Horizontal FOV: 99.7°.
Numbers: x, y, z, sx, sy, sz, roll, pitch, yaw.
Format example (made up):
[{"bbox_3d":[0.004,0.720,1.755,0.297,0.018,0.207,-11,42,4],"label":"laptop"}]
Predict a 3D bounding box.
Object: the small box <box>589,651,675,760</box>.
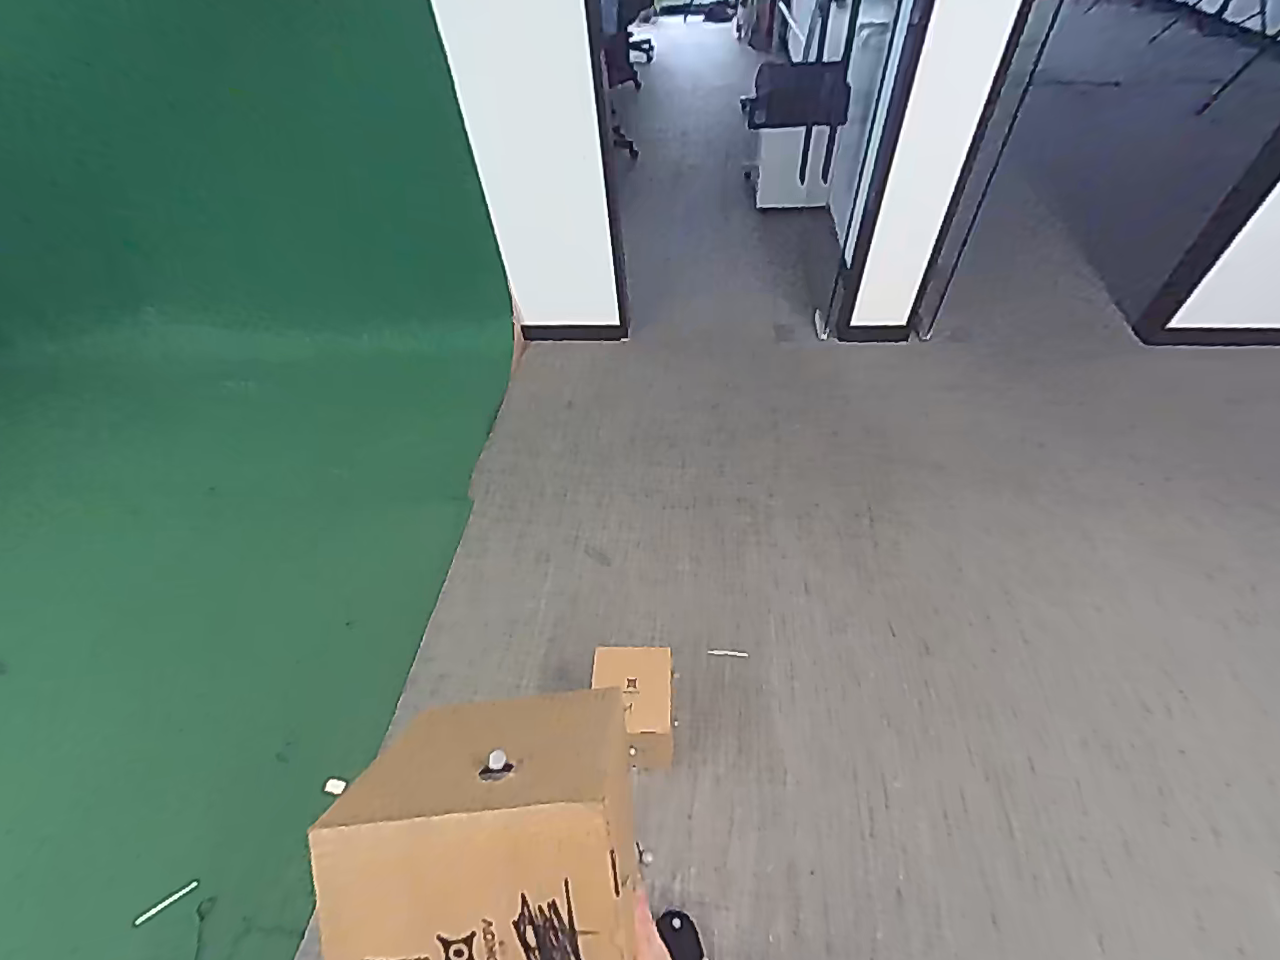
[{"bbox_3d":[-0.010,0.491,1.176,0.168,0.176,0.179,-1,50,5],"label":"small box"}]
